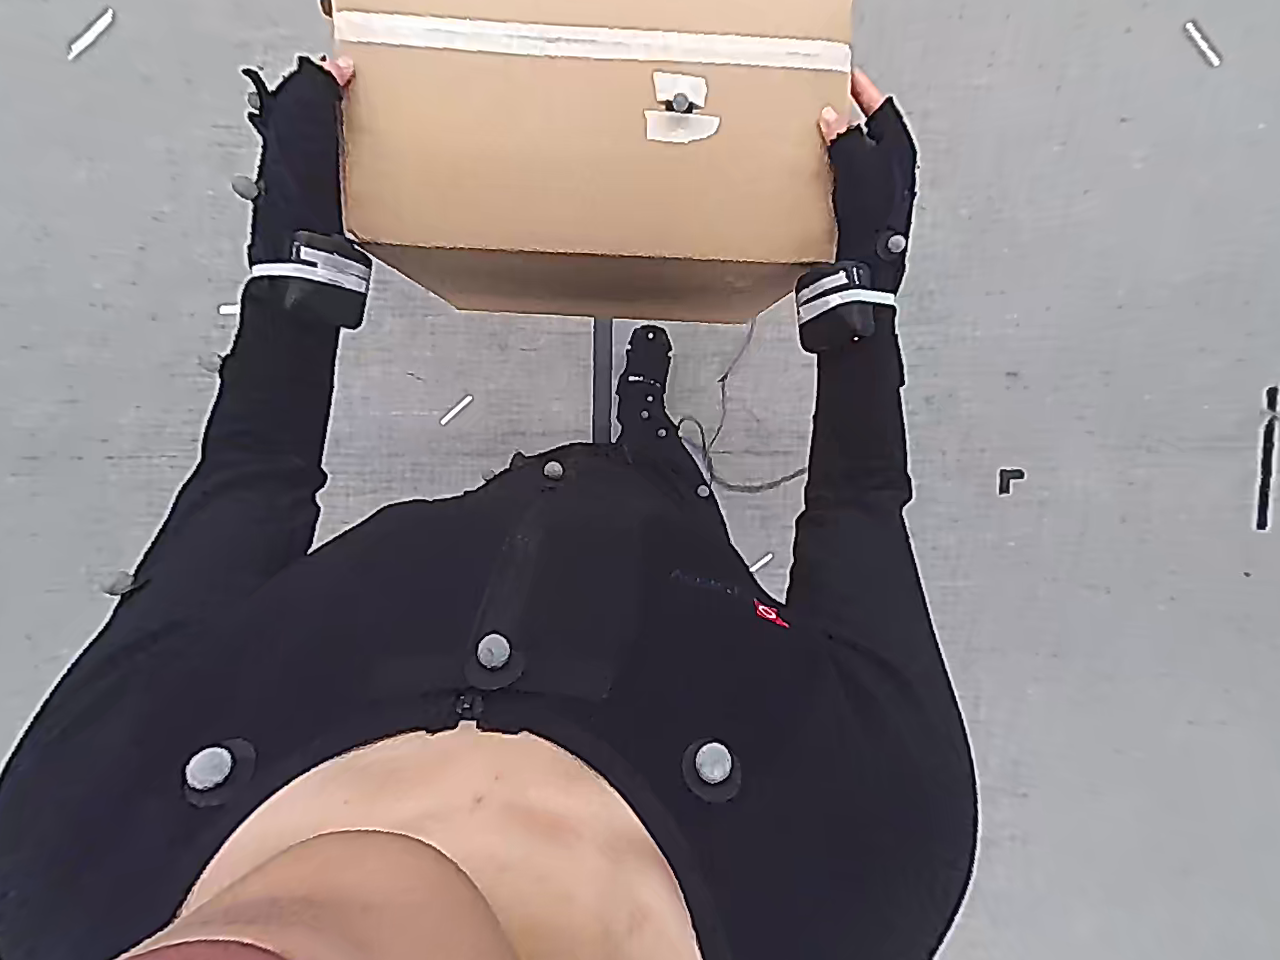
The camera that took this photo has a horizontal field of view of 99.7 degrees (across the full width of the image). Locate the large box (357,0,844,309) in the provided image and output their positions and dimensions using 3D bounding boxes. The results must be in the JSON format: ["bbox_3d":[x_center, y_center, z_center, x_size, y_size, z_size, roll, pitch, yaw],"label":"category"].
[{"bbox_3d":[-0.039,-0.374,0.592,0.408,0.320,0.320,1,98,-3],"label":"large box"}]
